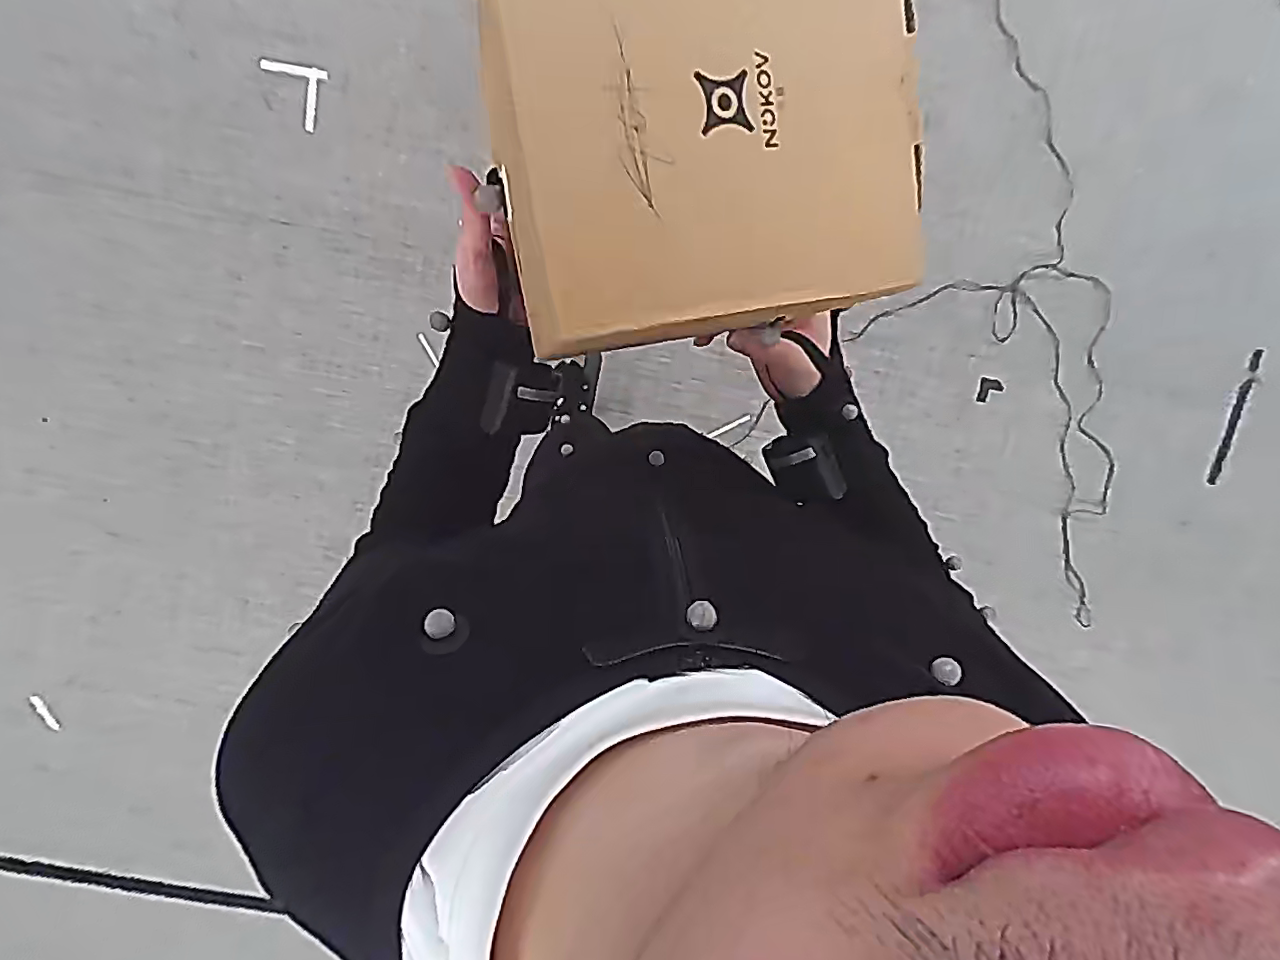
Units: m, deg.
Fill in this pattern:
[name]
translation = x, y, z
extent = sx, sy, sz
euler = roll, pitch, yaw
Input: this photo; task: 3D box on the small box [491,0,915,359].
[small box]
translation = 0.018, -0.168, 0.305
extent = 0.179, 0.176, 0.168
euler = -14, 101, -11
